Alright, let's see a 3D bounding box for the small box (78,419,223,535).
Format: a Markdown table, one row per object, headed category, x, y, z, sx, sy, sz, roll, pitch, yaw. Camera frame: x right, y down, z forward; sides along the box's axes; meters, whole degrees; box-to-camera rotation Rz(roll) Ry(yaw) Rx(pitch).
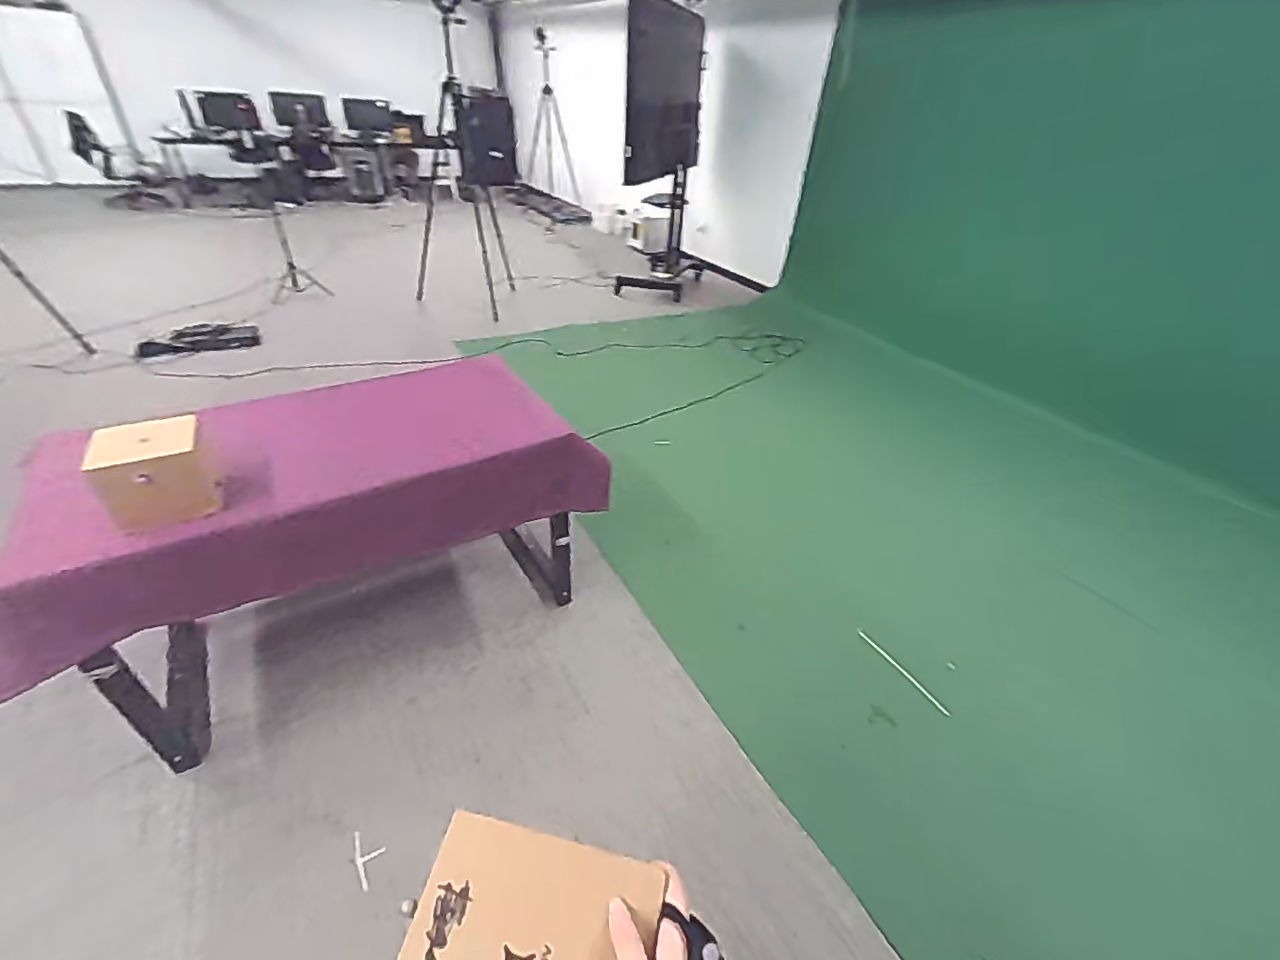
| category | x | y | z | sx | sy | sz | roll | pitch | yaw |
| --- | --- | --- | --- | --- | --- | --- | --- | --- | --- |
| small box | -1.031 | -0.007 | 1.156 | 0.179 | 0.176 | 0.168 | -15 | 41 | -27 |
